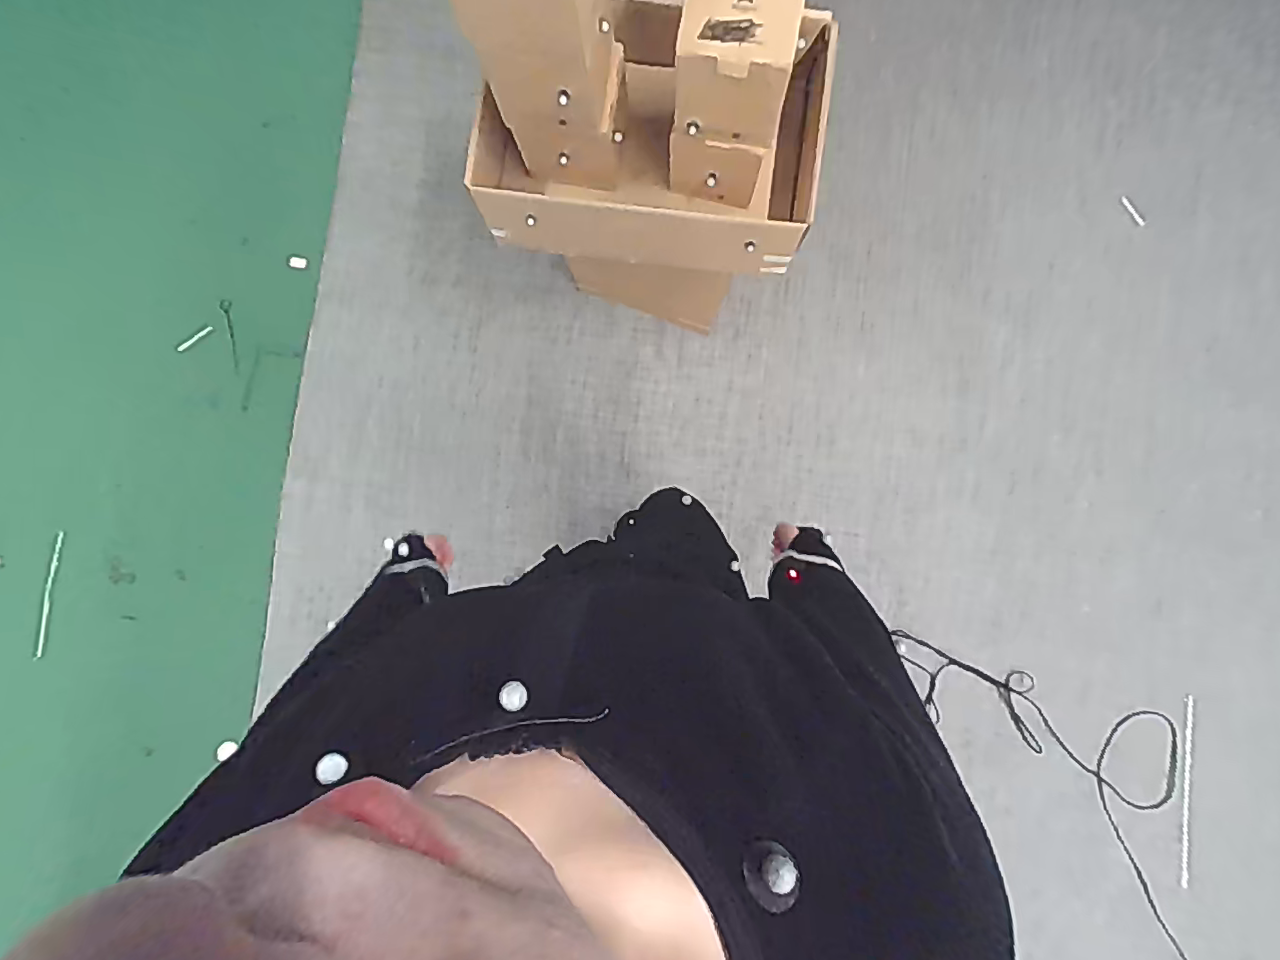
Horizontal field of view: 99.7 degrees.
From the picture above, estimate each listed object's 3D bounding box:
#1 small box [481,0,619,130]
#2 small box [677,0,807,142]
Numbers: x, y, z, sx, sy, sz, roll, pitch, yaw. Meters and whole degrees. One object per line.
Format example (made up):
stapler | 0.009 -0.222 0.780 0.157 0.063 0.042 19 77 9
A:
small box | -0.130 -0.692 0.848 0.168 0.176 0.179 9 86 3
small box | 0.155 -0.661 0.830 0.168 0.176 0.179 12 86 4
